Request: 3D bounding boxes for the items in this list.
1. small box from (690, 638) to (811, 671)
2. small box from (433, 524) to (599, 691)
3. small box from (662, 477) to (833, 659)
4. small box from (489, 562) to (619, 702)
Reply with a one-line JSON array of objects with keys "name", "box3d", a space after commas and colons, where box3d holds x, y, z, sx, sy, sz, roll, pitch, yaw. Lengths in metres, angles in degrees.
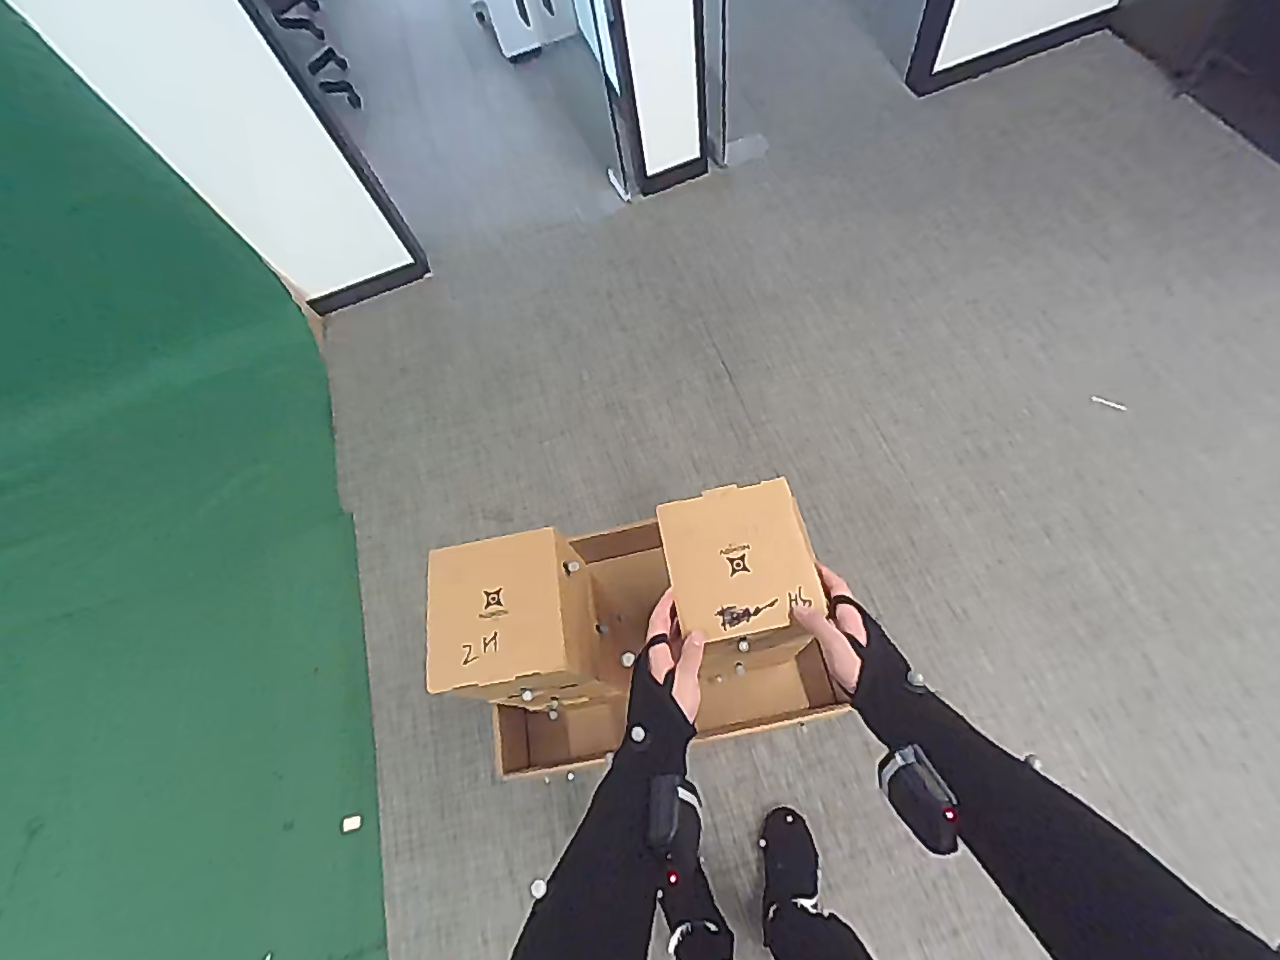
[{"name": "small box", "box3d": [0.152, 0.189, 0.846, 0.168, 0.176, 0.179, -12, 65, 4]}, {"name": "small box", "box3d": [-0.158, 0.177, 0.722, 0.168, 0.176, 0.179, -12, 67, 4]}, {"name": "small box", "box3d": [0.130, 0.121, 0.699, 0.168, 0.176, 0.179, -13, 65, 4]}, {"name": "small box", "box3d": [-0.135, 0.249, 0.868, 0.168, 0.176, 0.179, -12, 65, 4]}]
